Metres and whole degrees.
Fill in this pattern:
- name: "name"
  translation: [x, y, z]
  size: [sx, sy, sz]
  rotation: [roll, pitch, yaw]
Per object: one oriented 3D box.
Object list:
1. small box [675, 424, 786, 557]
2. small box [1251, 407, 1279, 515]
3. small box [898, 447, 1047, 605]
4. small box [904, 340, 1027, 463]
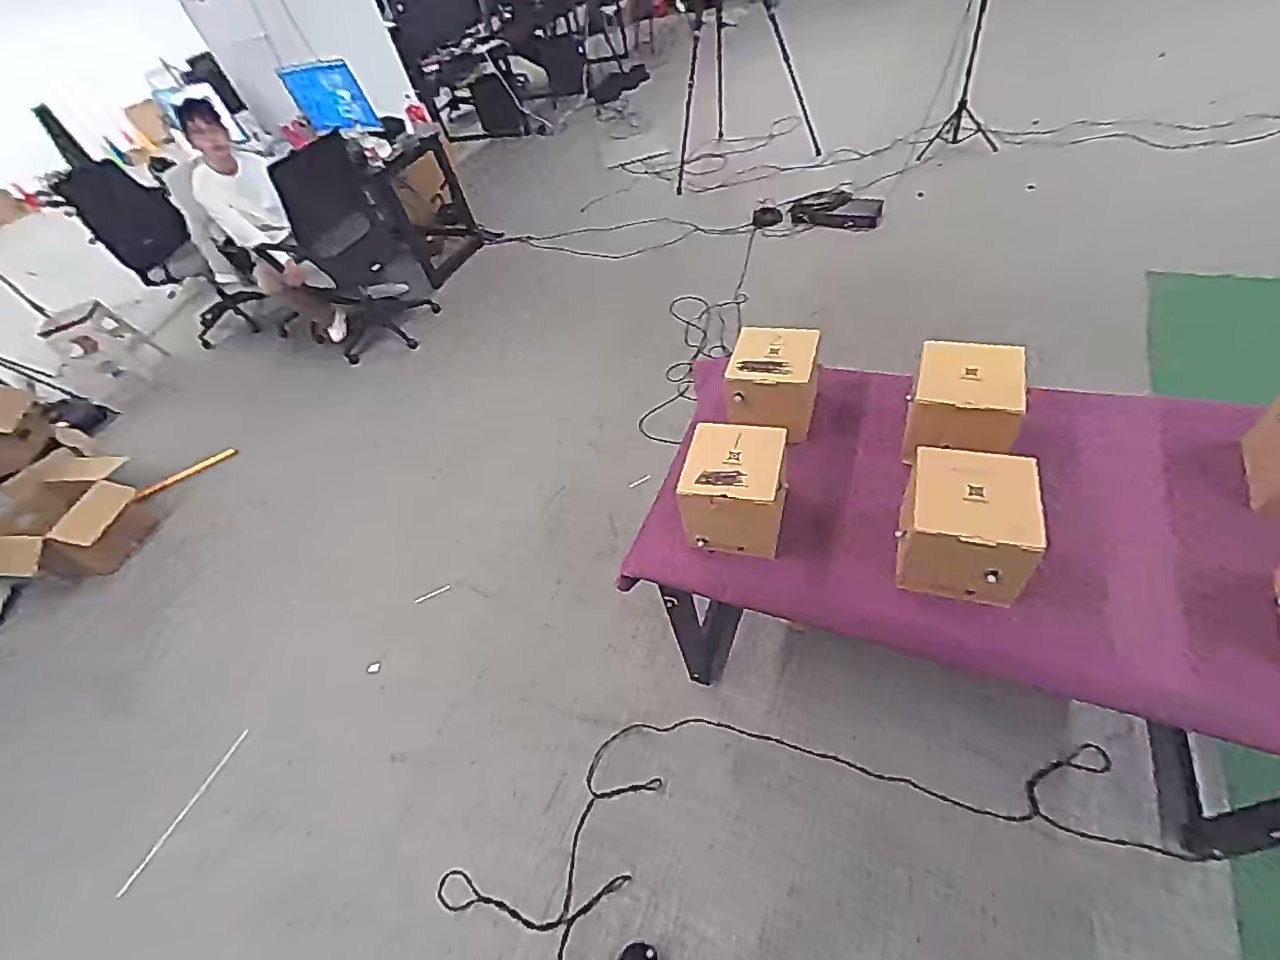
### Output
- name: "small box"
  translation: [0.175, 0.020, 0.992]
  size: [0.168, 0.176, 0.179]
  rotation: [6, 50, 19]
- name: "small box"
  translation: [1.069, -0.045, 0.802]
  size: [0.168, 0.176, 0.179]
  rotation: [15, 56, 27]
- name: "small box"
  translation: [0.513, 0.074, 0.856]
  size: [0.168, 0.176, 0.179]
  rotation: [9, 52, 21]
- name: "small box"
  translation: [0.603, -0.138, 1.015]
  size: [0.168, 0.176, 0.179]
  rotation: [10, 55, 23]
